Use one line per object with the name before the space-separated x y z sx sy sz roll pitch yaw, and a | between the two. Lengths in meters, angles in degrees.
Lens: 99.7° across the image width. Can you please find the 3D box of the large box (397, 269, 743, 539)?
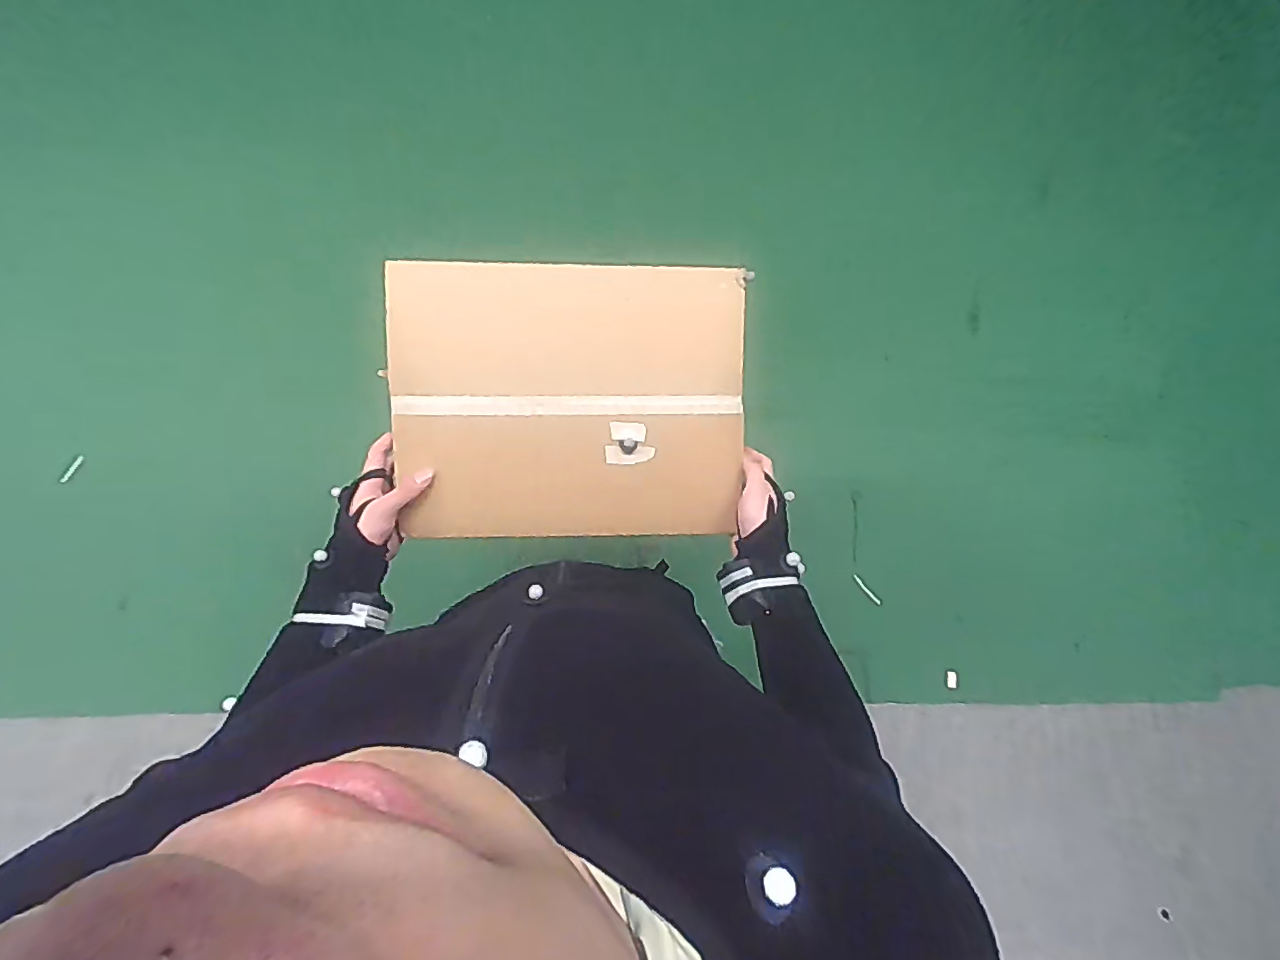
large box | -0.088 -0.103 0.785 0.408 0.320 0.320 -1 97 -5

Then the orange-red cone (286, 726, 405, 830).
orange-red cone | -0.757 0.767 1.333 0.199 0.360 0.198 8 79 -2
